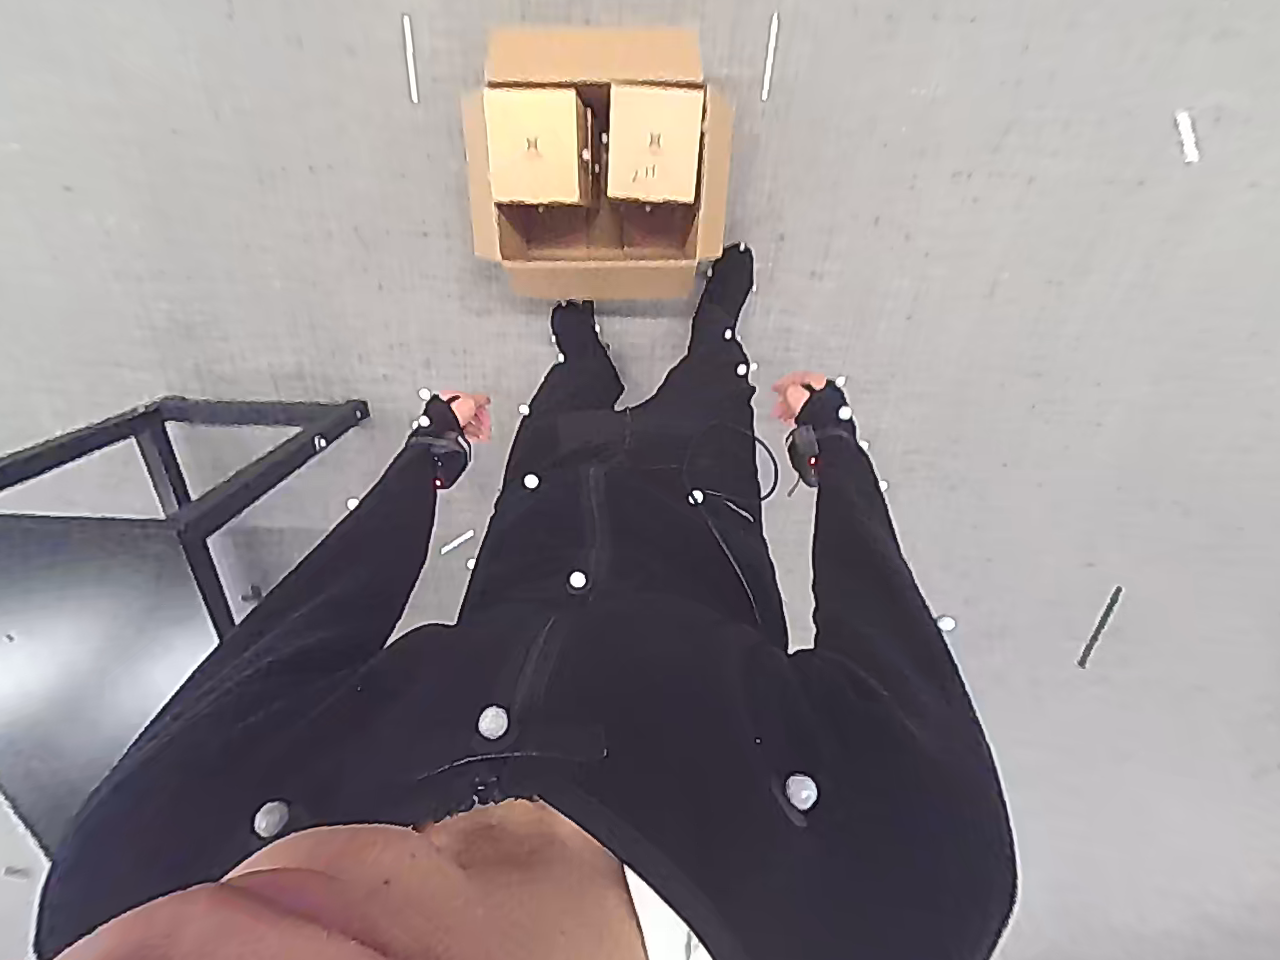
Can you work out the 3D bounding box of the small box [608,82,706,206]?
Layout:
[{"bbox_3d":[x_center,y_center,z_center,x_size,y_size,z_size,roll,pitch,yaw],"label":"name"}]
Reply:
[{"bbox_3d":[0.027,-0.636,1.043,0.168,0.176,0.179,4,116,-2],"label":"small box"}]
